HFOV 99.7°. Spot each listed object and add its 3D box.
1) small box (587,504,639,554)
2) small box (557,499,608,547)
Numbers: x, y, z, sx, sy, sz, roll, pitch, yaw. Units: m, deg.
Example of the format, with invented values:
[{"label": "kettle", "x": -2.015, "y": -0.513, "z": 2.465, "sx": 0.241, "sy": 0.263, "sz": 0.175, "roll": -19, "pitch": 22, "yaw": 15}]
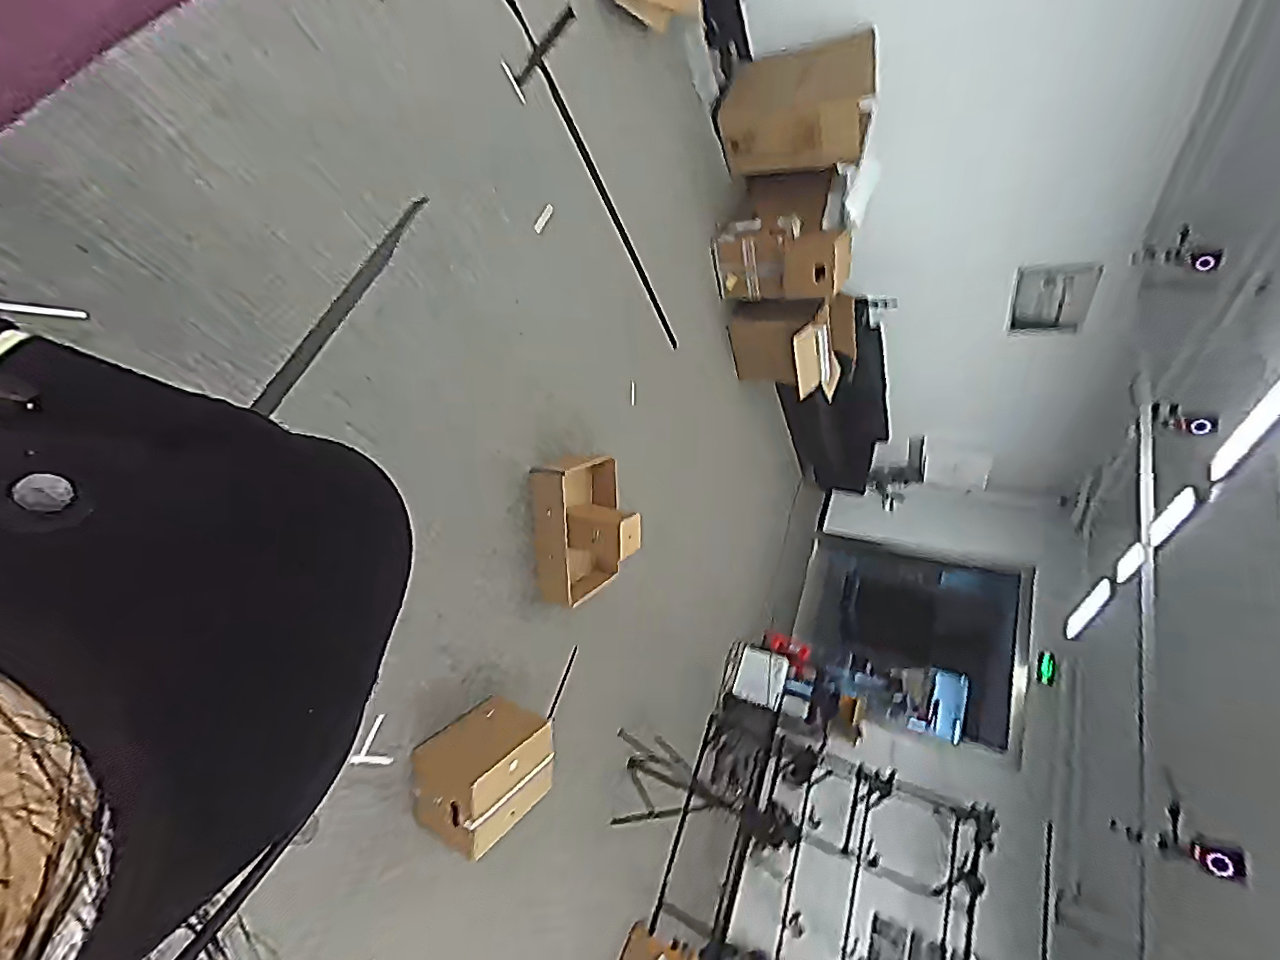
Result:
[{"label": "small box", "x": -0.118, "y": 0.208, "z": 2.371, "sx": 0.179, "sy": 0.176, "sz": 0.168, "roll": -23, "pitch": 116, "yaw": -56}, {"label": "small box", "x": -0.259, "y": 0.188, "z": 2.449, "sx": 0.179, "sy": 0.176, "sz": 0.168, "roll": -21, "pitch": 114, "yaw": -58}]
